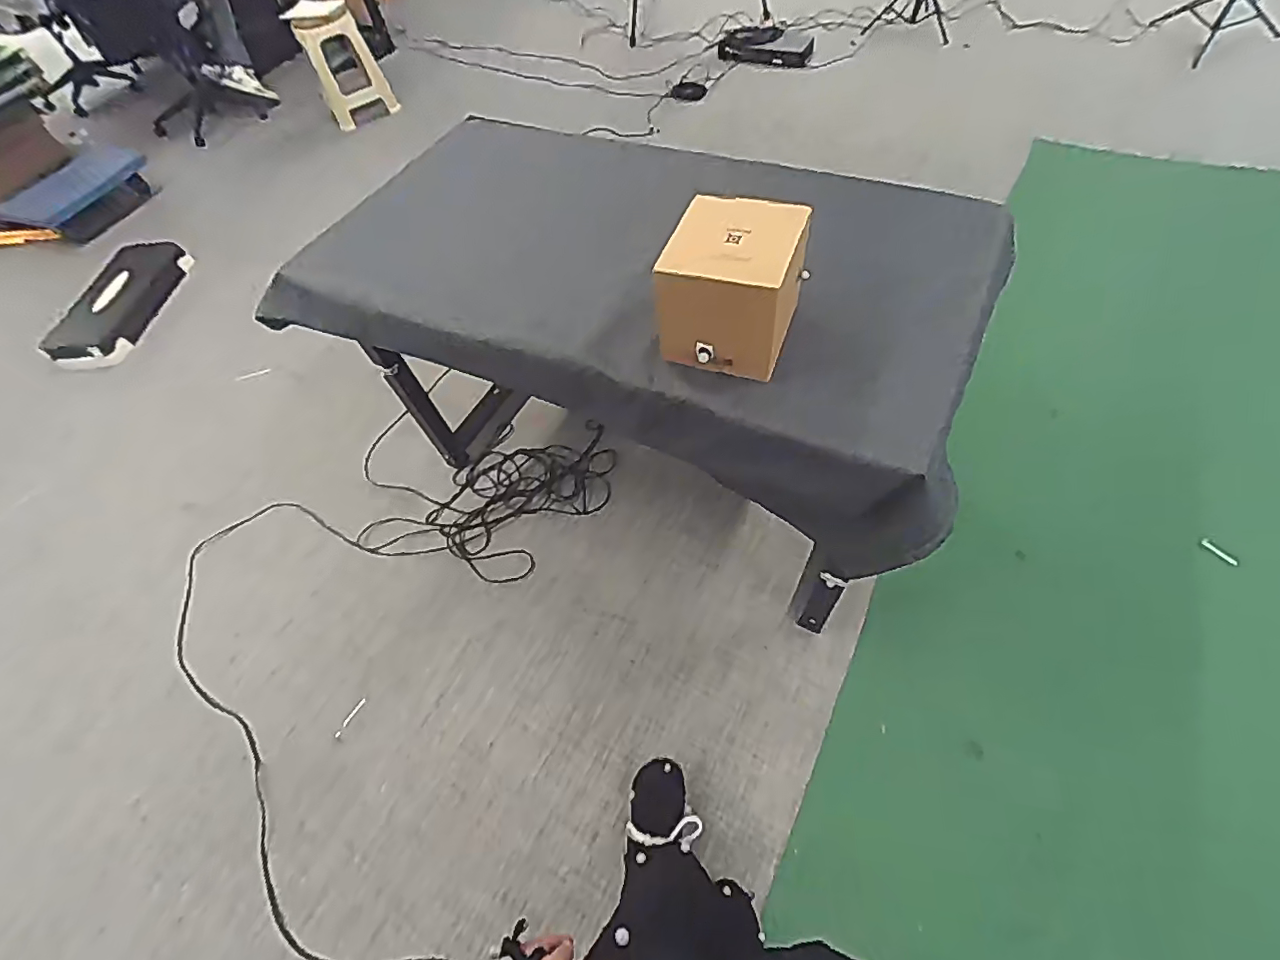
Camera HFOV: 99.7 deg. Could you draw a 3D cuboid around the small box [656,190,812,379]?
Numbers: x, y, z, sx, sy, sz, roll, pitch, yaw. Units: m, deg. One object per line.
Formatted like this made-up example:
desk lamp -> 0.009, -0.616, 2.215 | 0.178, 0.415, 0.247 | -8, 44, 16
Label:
small box -> 0.132, -0.275, 0.767 | 0.168, 0.176, 0.179 | 15, 61, 17
